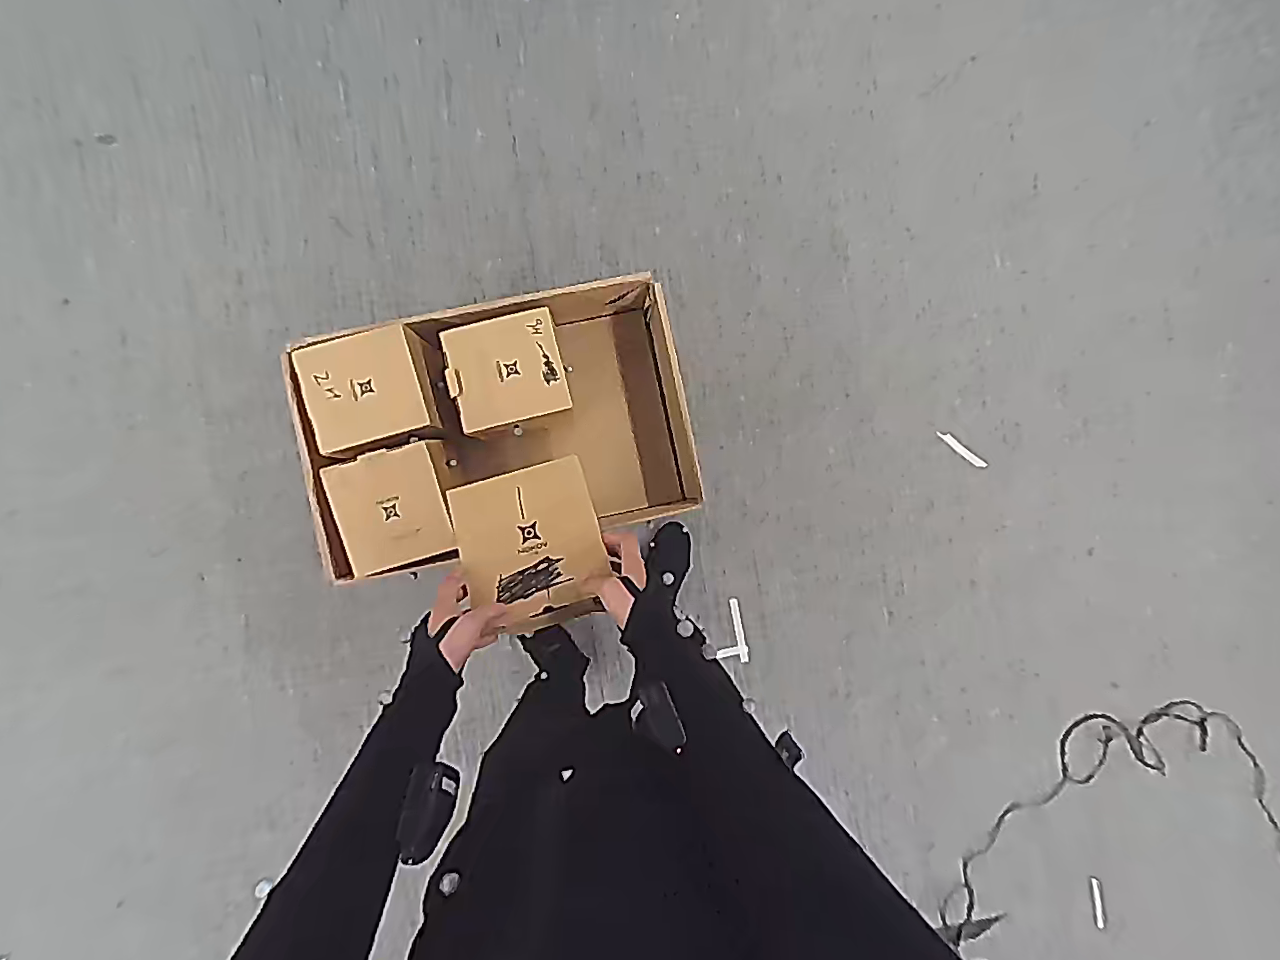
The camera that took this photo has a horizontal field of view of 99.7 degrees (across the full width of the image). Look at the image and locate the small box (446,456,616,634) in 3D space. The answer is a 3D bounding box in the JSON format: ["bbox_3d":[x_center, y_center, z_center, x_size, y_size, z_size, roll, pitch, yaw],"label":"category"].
[{"bbox_3d":[-0.131,0.091,0.709,0.168,0.176,0.179,-16,75,-6],"label":"small box"}]
